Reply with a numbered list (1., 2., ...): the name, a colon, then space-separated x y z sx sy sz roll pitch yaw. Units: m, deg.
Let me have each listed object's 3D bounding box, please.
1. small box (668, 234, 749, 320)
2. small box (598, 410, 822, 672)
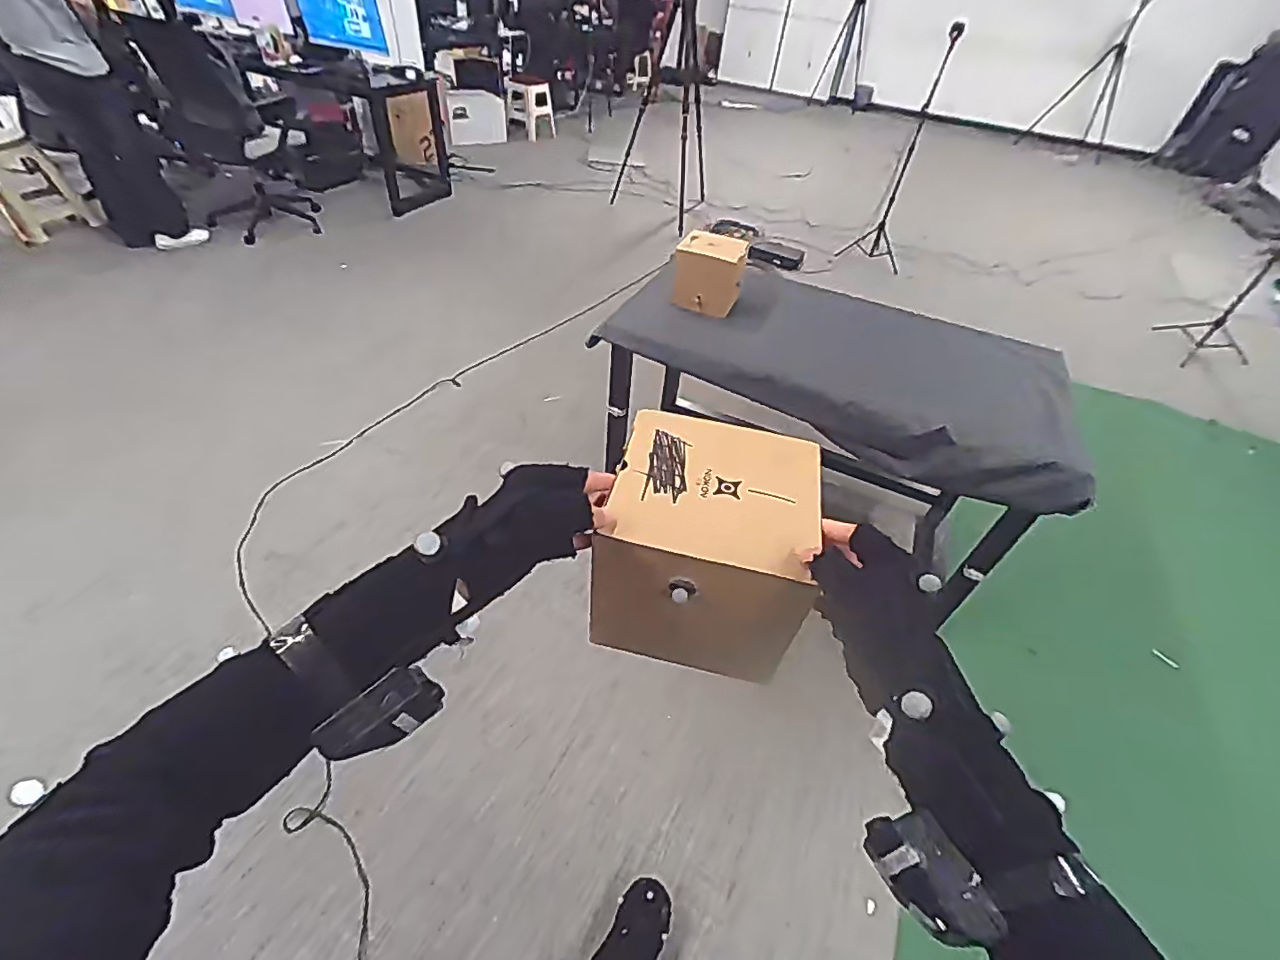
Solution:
1. small box: 0.197 -0.588 1.578 0.179 0.176 0.168 20 45 12
2. small box: 0.062 0.061 0.521 0.179 0.176 0.168 13 45 5
